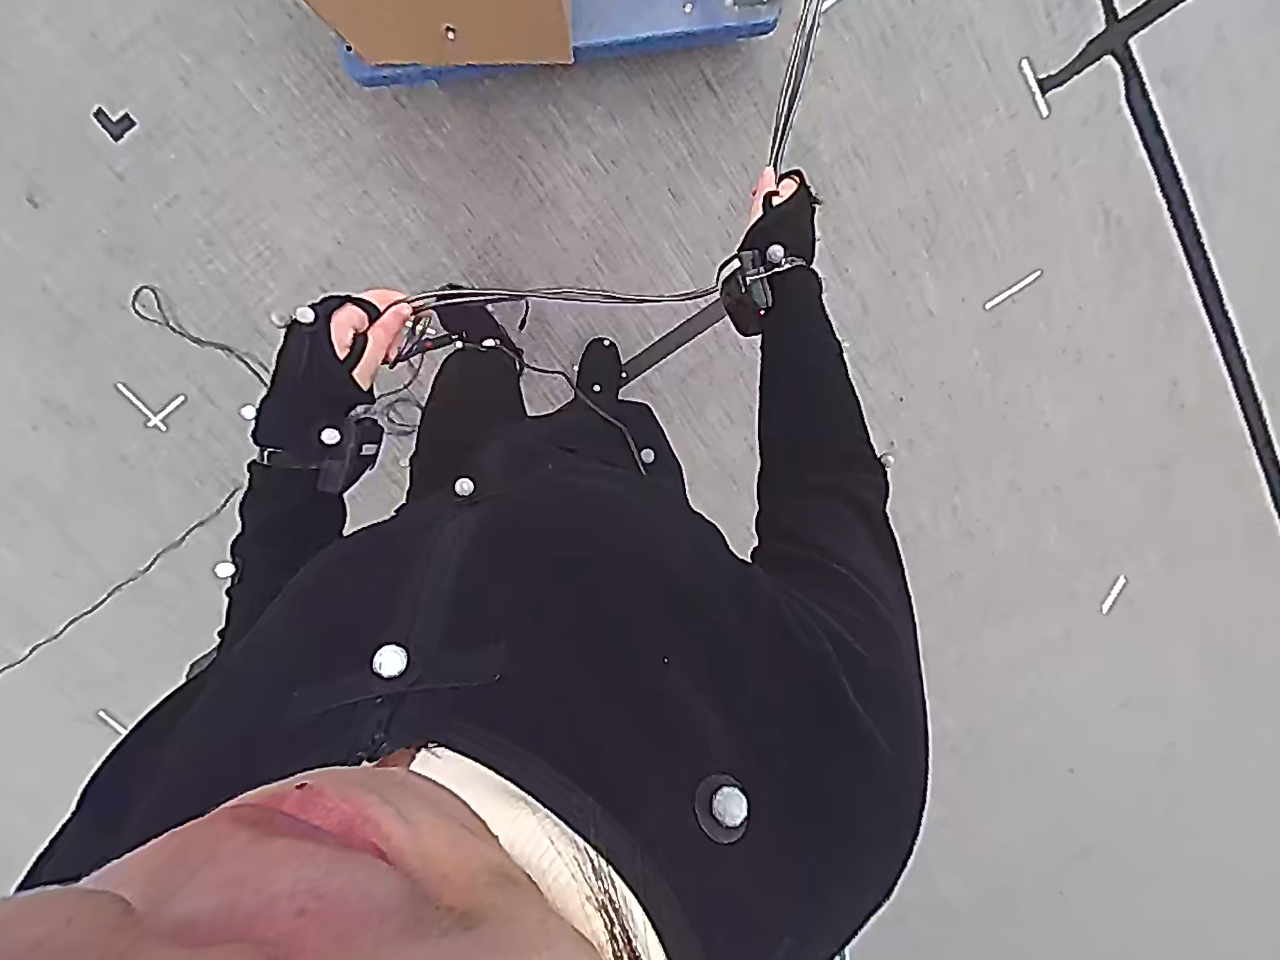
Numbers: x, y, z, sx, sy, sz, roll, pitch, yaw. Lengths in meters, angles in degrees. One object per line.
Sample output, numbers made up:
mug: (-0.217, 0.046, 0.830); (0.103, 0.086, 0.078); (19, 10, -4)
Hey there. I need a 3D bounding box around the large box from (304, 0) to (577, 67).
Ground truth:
large box: (-0.324, -0.912, 0.870); (0.408, 0.320, 0.320); (-2, 106, 0)
